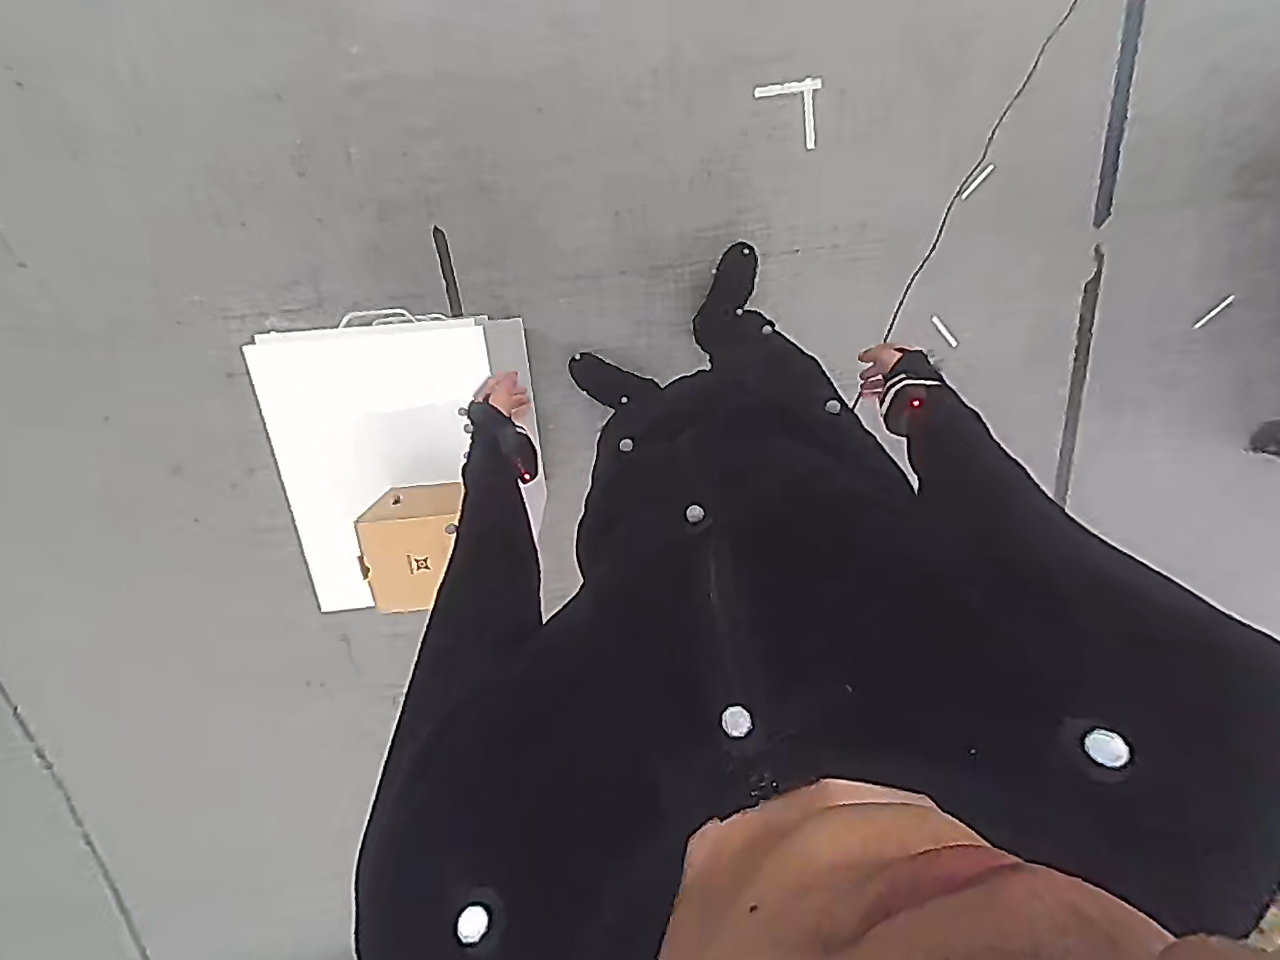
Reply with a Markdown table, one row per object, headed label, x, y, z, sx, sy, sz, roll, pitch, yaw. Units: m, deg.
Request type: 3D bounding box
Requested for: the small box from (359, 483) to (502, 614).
| label | x | y | z | sx | sy | sz | roll | pitch | yaw |
| --- | --- | --- | --- | --- | --- | --- | --- | --- | --- |
| small box | -0.351 | 0.112 | 0.940 | 0.179 | 0.176 | 0.168 | -5 | 109 | -3 |
